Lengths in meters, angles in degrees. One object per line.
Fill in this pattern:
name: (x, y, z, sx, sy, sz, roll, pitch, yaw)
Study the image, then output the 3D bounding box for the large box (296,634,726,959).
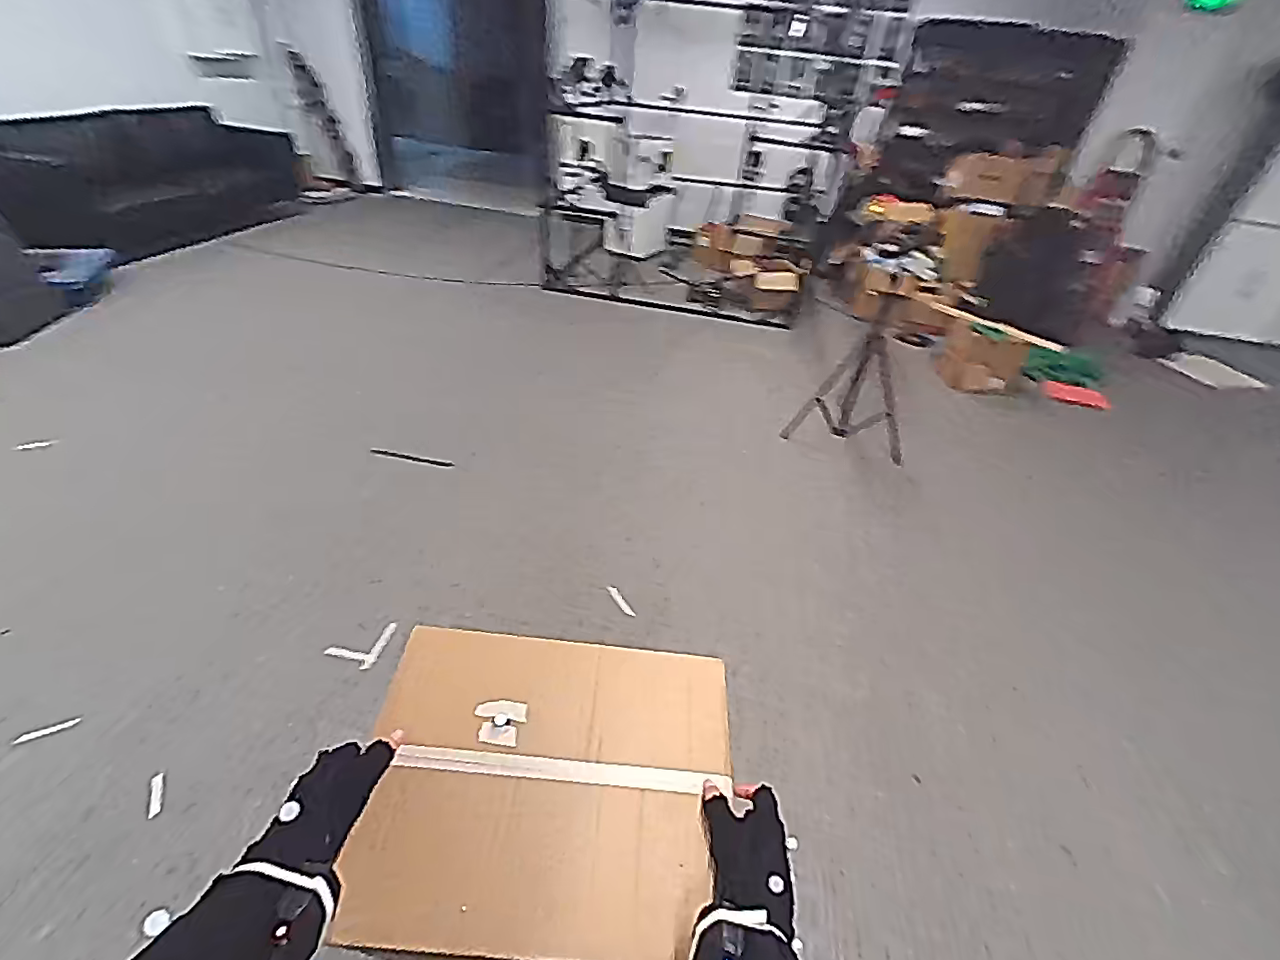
large box: (-0.126, 0.426, 0.710, 0.408, 0.320, 0.320, 6, 45, -3)
